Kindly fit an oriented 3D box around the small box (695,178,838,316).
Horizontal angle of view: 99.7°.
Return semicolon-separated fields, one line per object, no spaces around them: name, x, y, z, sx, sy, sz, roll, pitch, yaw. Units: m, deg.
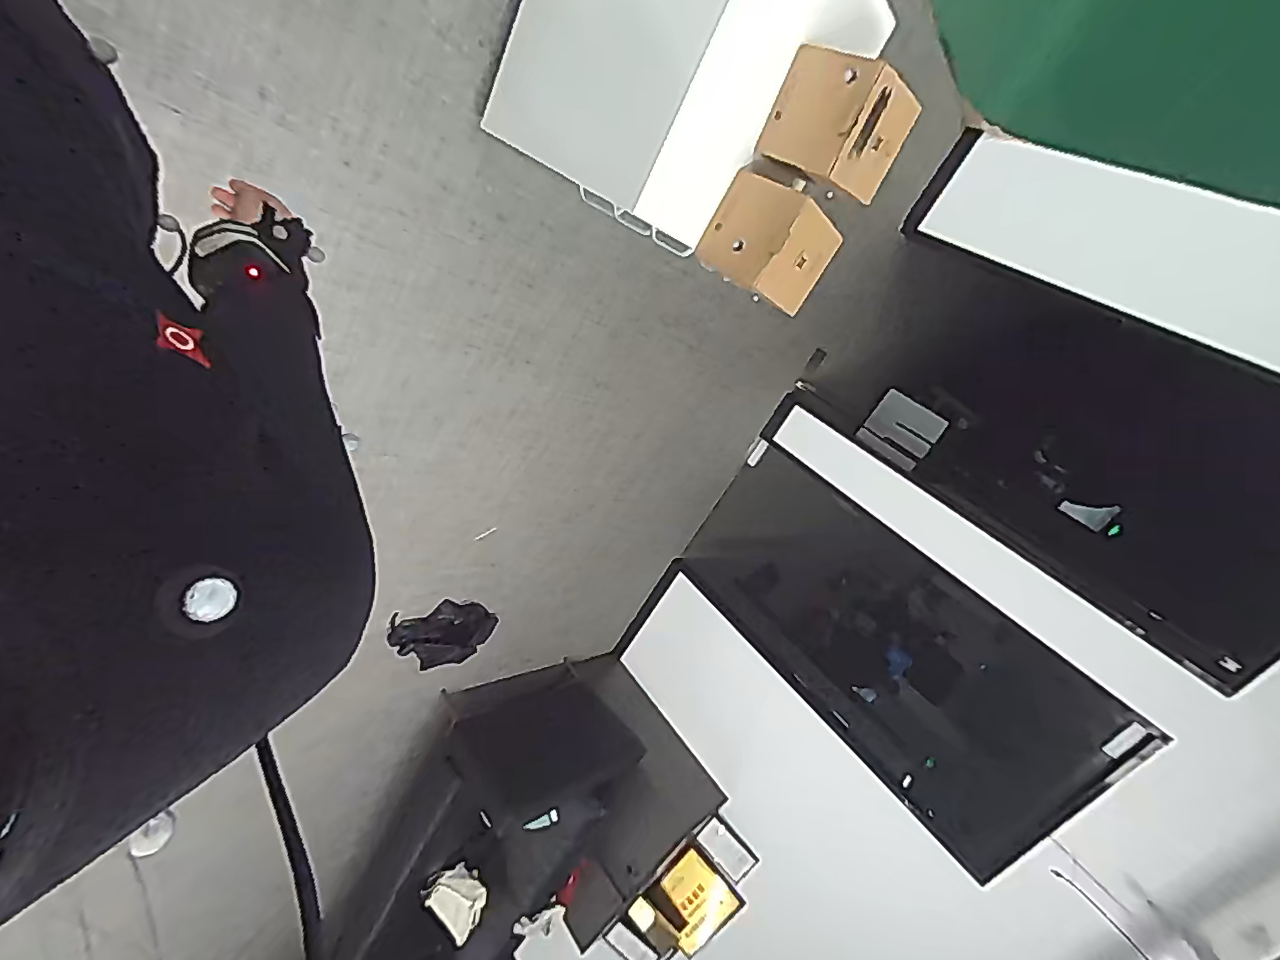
small box;0.236;-0.444;1.029;0.179;0.176;0.168;5;123;-52
